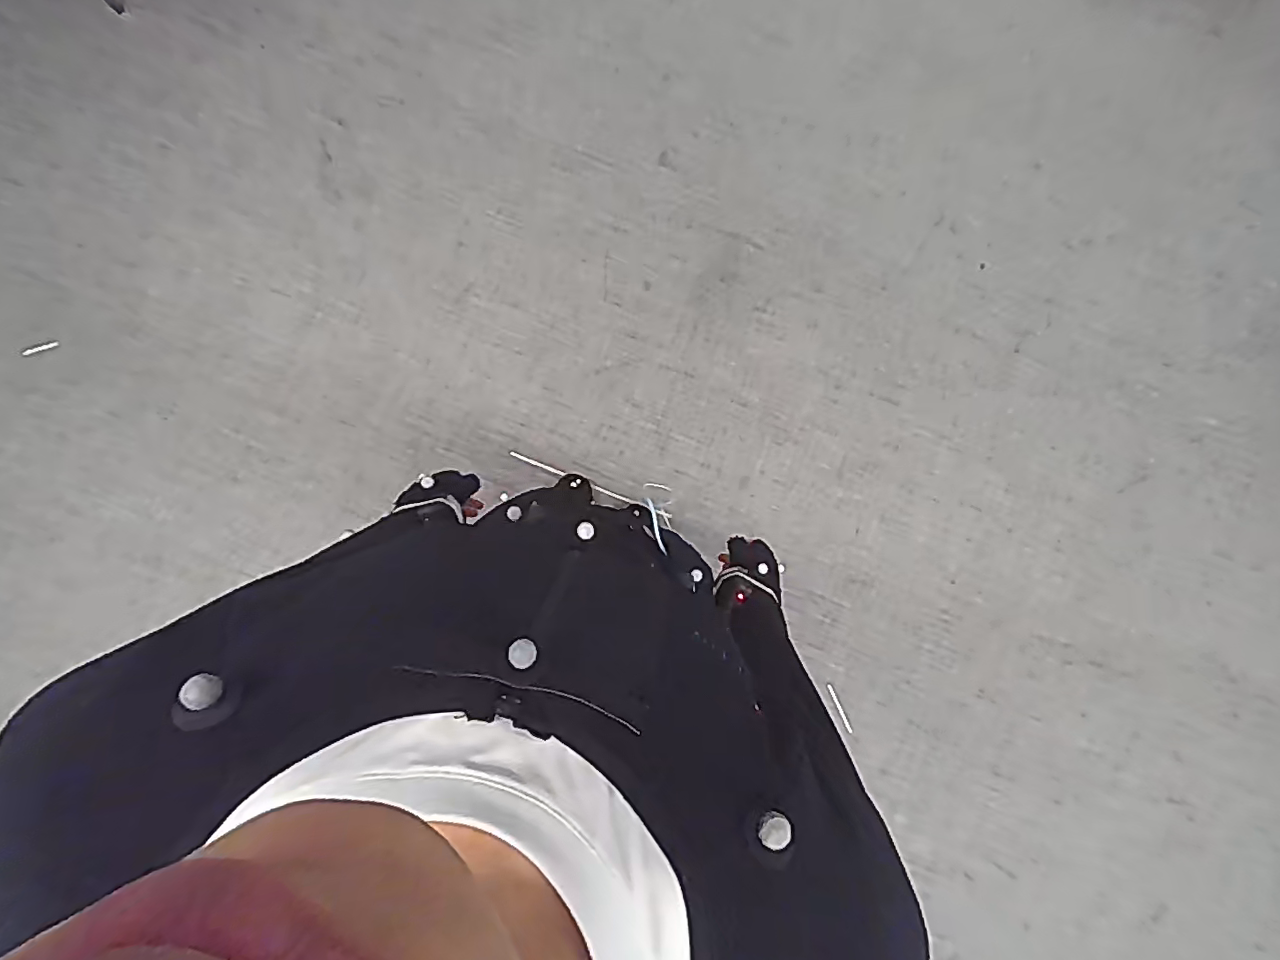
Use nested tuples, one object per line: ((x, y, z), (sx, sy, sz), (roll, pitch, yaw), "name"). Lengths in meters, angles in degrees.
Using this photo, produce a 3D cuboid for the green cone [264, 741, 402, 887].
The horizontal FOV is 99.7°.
((-0.751, 0.811, 1.268), (0.202, 0.368, 0.200), (21, 87, -1), "green cone")
